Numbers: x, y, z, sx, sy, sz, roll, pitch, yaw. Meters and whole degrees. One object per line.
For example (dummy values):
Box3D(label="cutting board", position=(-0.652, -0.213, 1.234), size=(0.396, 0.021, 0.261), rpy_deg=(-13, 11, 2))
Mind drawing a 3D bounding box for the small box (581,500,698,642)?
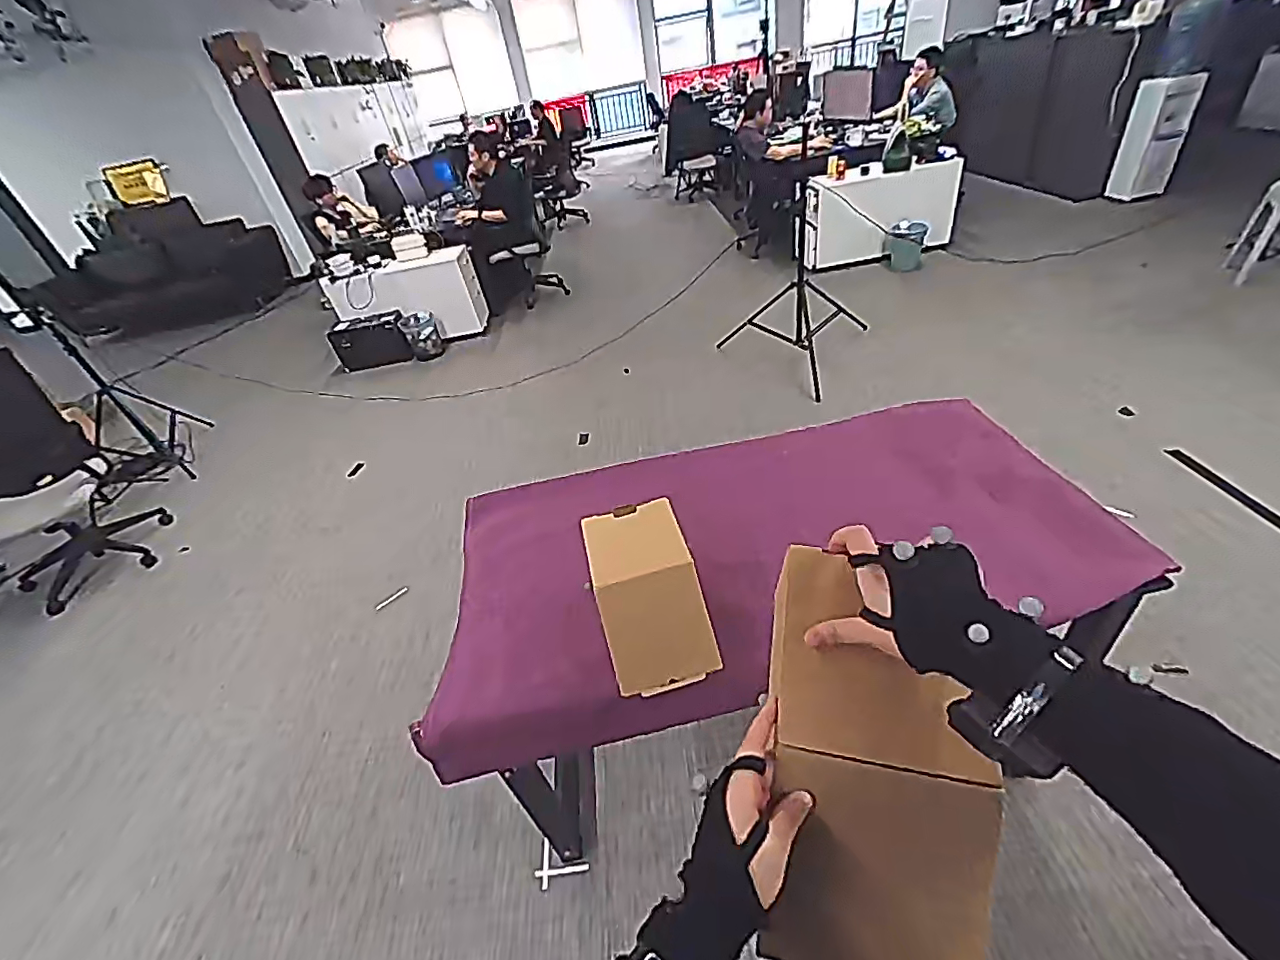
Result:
Box3D(label="small box", position=(0.000, 0.168, 0.972), size=(0.168, 0.176, 0.179), rpy_deg=(-14, 36, -4))
